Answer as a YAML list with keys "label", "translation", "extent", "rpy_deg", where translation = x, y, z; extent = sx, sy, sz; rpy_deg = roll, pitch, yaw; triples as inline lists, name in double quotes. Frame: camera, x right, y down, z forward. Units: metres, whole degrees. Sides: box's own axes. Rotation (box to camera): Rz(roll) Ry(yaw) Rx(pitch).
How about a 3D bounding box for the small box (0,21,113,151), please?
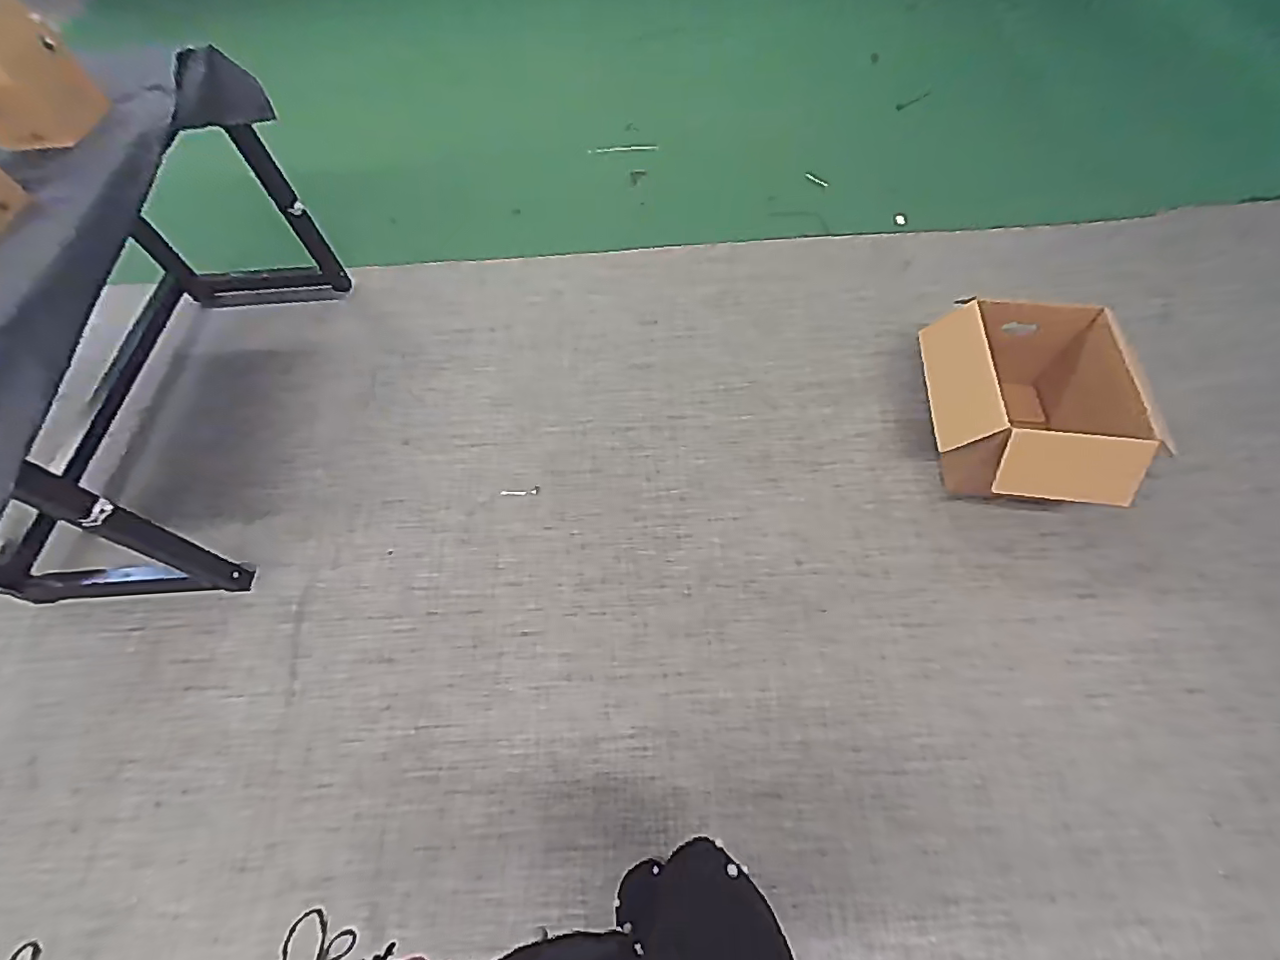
- label: "small box"
  translation: [-1.276, -0.812, 1.127]
  extent: [0.168, 0.176, 0.179]
  rpy_deg: [-2, 60, 3]

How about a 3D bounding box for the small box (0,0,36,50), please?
- label: "small box"
  translation: [-1.301, -0.890, 0.980]
  extent: [0.168, 0.176, 0.179]
  rpy_deg: [1, 61, 5]

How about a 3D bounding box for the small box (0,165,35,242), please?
- label: "small box"
  translation: [-1.275, -0.519, 0.960]
  extent: [0.179, 0.176, 0.168]
  rpy_deg: [-3, 61, 1]
